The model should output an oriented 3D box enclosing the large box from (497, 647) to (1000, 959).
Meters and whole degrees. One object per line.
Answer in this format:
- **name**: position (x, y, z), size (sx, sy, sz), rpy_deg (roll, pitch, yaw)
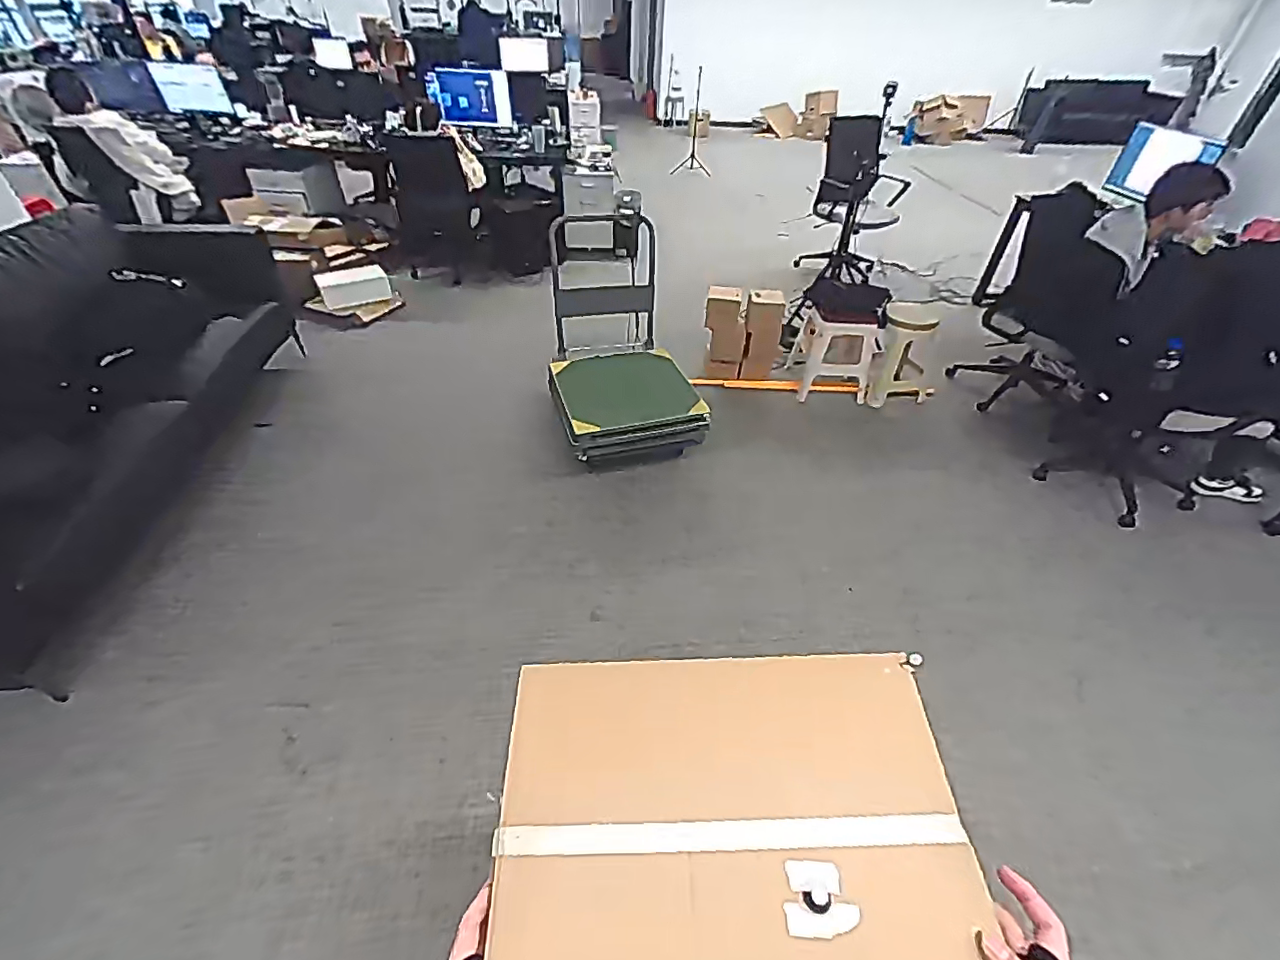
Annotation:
- **large box**: position (0.085, 0.402, 0.598), size (0.408, 0.320, 0.320), rpy_deg (-3, 52, 1)
